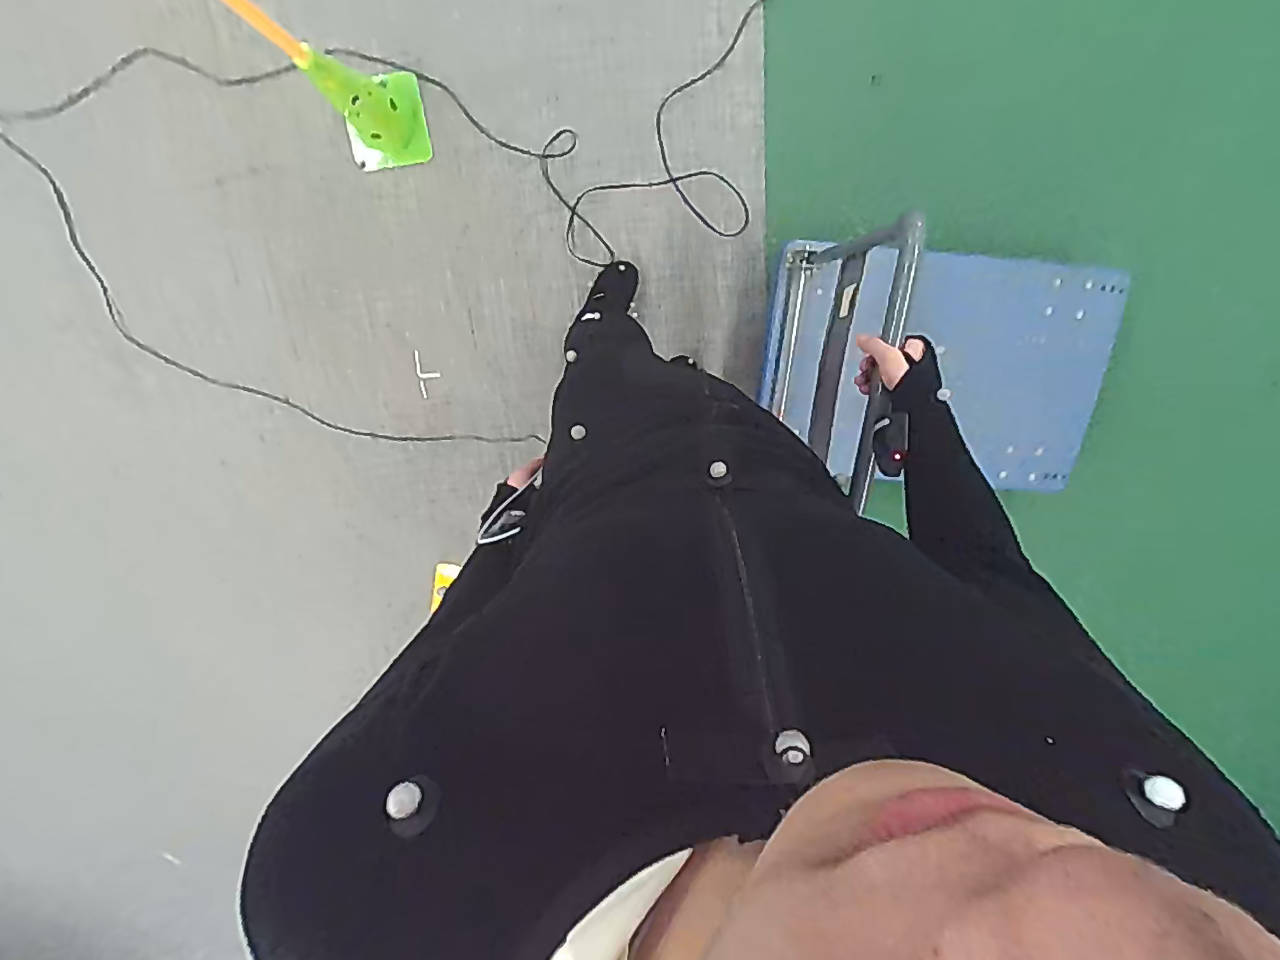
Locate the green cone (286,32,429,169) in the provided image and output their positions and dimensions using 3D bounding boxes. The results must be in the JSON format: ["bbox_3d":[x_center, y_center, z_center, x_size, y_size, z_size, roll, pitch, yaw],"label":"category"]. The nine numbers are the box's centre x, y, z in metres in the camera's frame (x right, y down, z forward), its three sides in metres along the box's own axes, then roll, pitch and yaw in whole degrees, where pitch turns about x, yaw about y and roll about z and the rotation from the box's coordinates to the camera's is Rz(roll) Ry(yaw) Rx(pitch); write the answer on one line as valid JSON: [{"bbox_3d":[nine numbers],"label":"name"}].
[{"bbox_3d":[-0.634,-0.851,1.178,0.200,0.368,0.202,-8,104,2],"label":"green cone"}]
